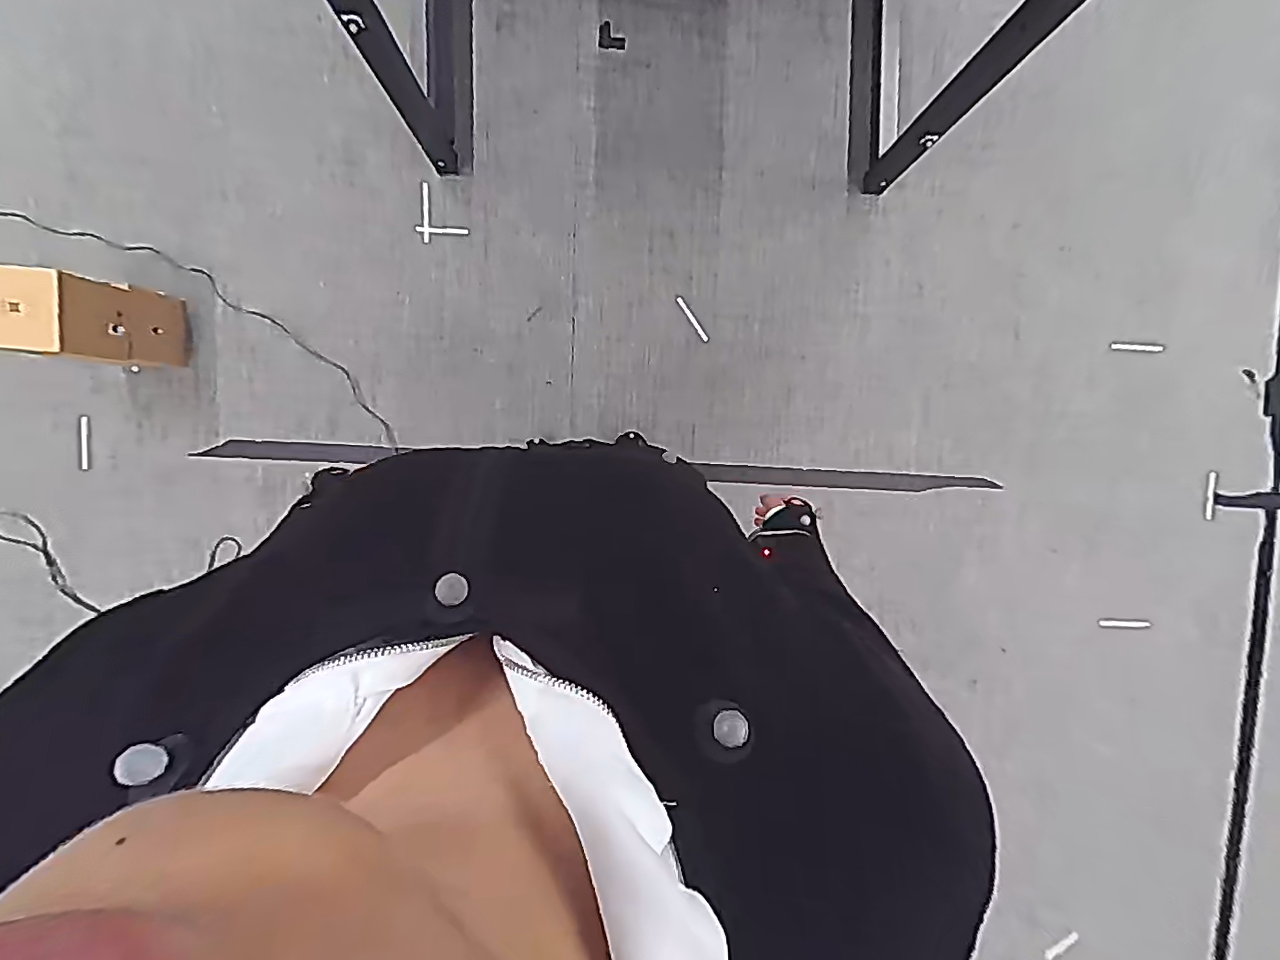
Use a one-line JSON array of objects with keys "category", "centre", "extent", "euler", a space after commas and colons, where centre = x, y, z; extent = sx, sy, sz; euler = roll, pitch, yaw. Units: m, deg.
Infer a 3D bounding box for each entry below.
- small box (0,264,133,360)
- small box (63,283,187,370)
[{"category": "small box", "centre": [-1.251, -0.353, 1.160], "extent": [0.179, 0.176, 0.168], "euler": [3, 96, -4]}, {"category": "small box", "centre": [-1.256, -0.371, 1.322], "extent": [0.168, 0.176, 0.179], "euler": [1, 95, -3]}]
